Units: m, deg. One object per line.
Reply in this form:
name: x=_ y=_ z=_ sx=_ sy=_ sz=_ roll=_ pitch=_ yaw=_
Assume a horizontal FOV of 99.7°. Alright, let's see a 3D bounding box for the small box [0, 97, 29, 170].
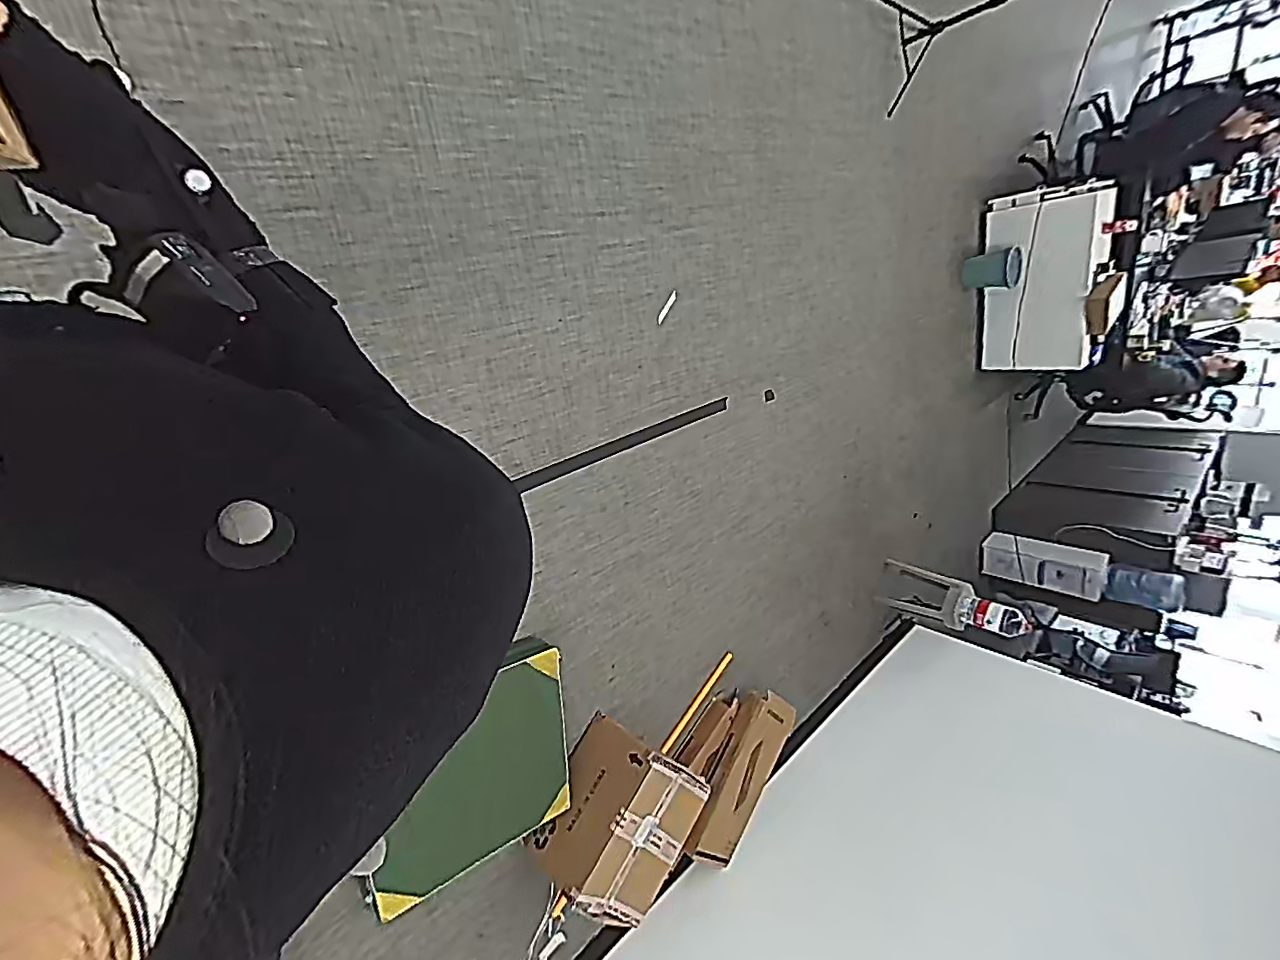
small box: x=-0.351 y=-0.193 z=0.161 sx=0.176 sy=0.168 sz=0.179 roll=-25 pitch=127 yaw=-35
